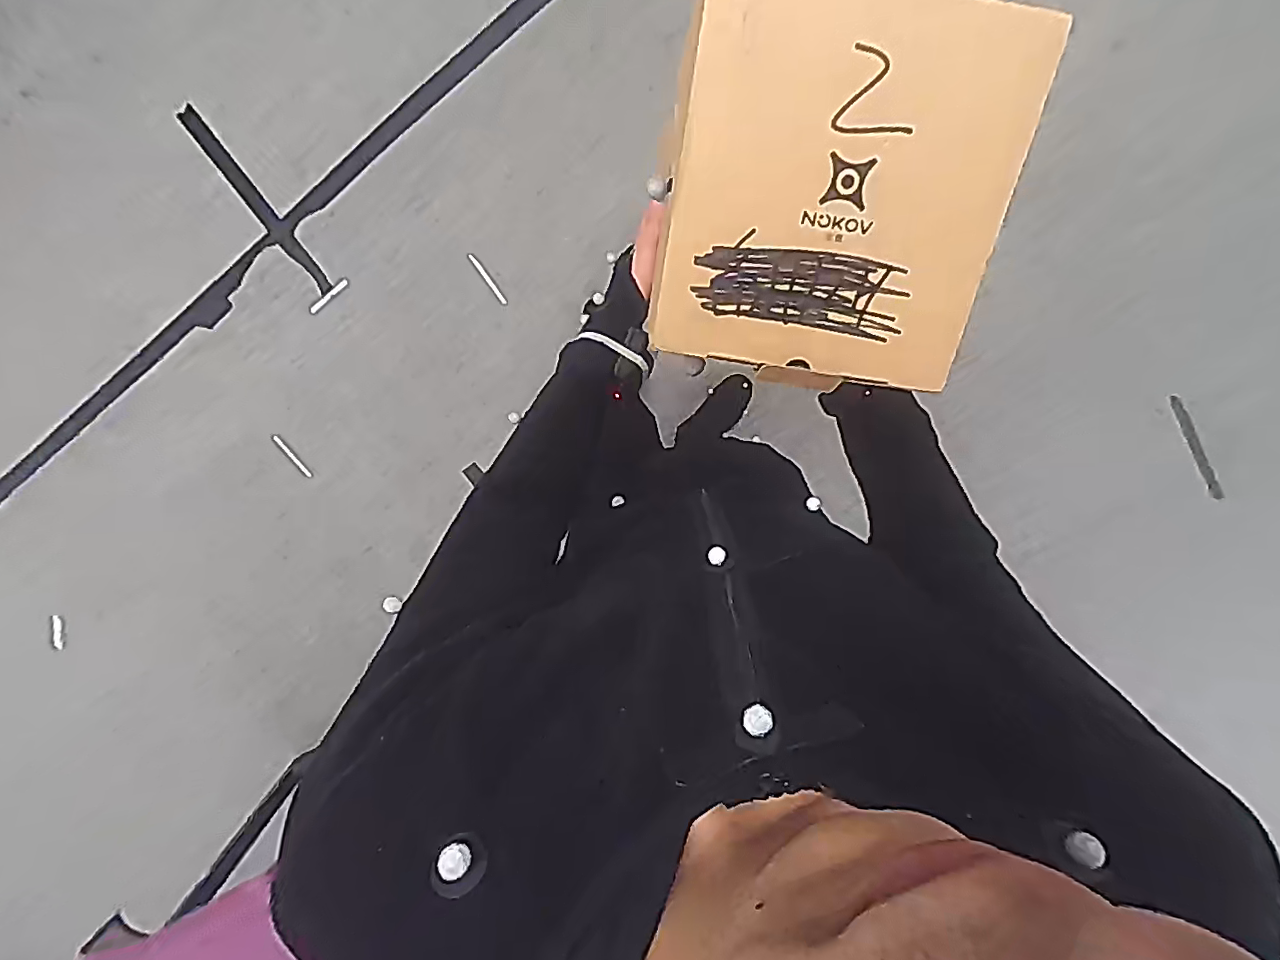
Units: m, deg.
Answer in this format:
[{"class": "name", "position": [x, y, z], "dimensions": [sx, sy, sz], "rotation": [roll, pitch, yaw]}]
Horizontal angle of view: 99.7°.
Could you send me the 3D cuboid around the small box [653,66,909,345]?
[{"class": "small box", "position": [0.104, -0.232, 0.492], "dimensions": [0.168, 0.176, 0.179], "rotation": [8, 111, -2]}]
